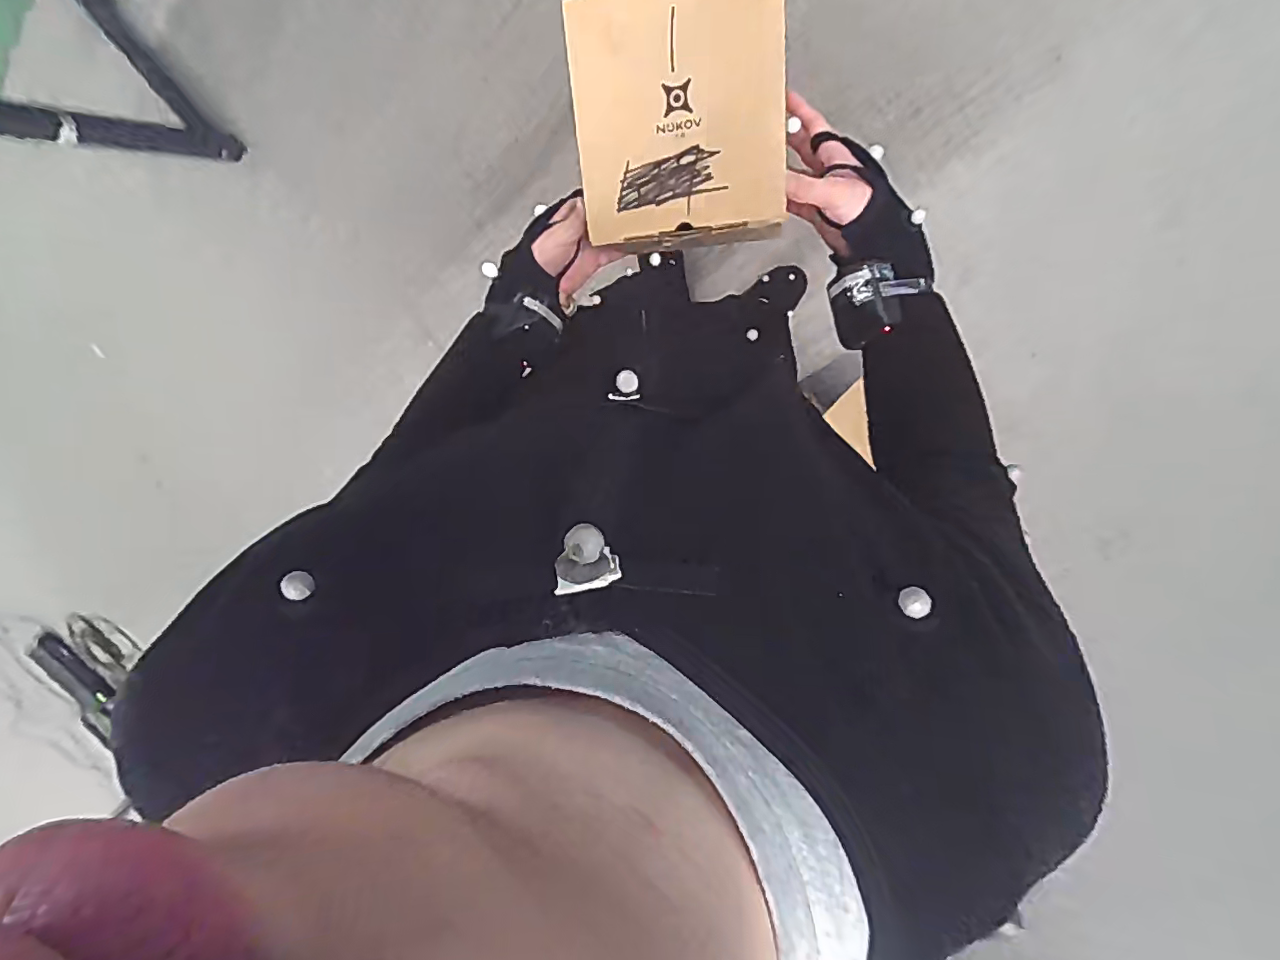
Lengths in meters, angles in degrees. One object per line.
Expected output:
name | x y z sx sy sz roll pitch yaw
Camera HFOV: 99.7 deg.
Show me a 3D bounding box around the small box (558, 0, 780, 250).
small box | 0.041 -0.311 0.491 0.168 0.176 0.179 -2 109 13
